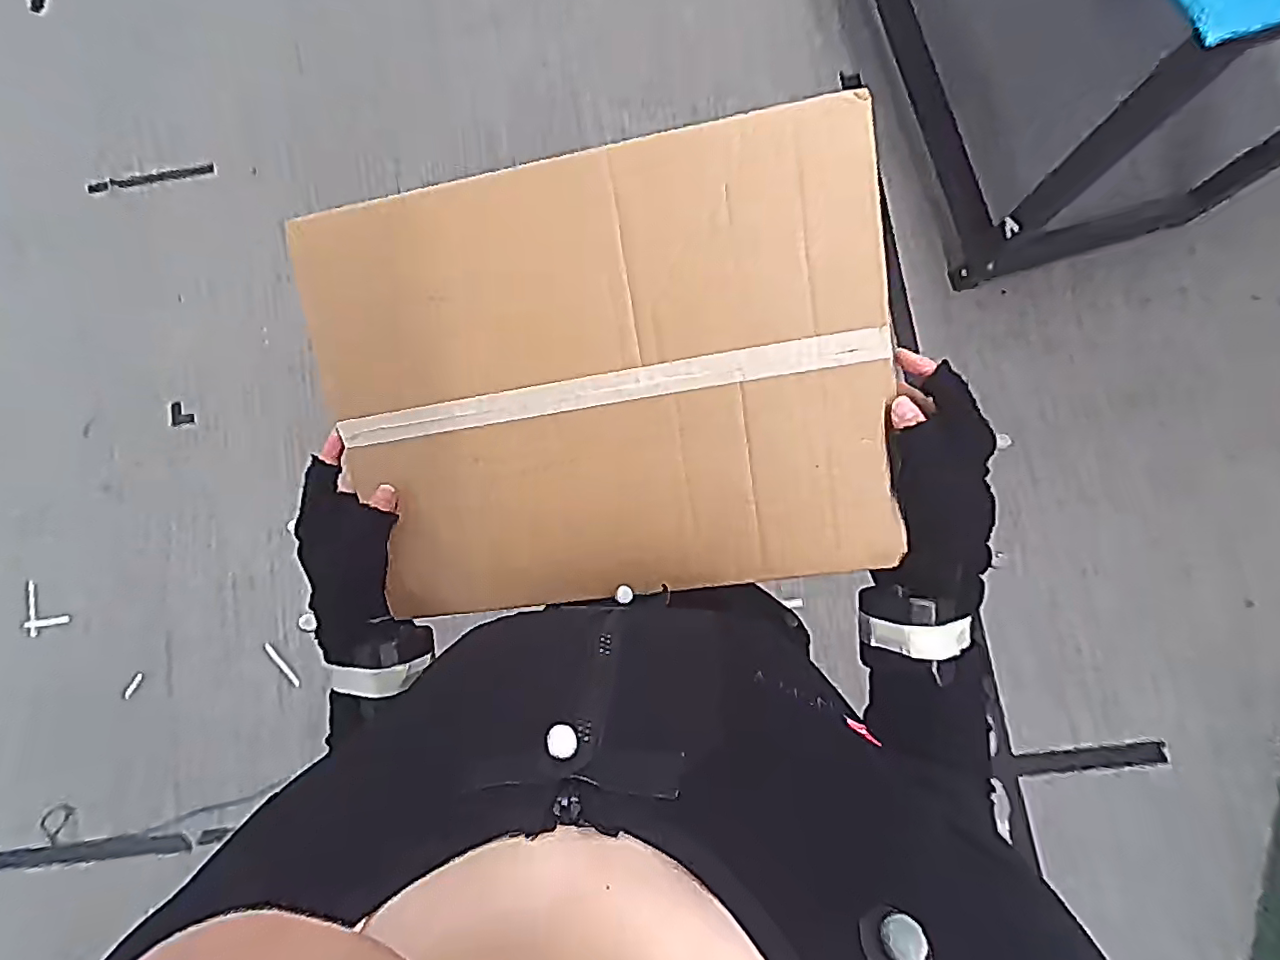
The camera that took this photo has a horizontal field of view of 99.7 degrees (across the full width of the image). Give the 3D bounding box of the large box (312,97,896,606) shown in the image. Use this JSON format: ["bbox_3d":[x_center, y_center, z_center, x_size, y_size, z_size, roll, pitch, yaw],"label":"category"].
[{"bbox_3d":[-0.013,-0.097,0.543,0.408,0.320,0.320,-7,101,8],"label":"large box"}]
